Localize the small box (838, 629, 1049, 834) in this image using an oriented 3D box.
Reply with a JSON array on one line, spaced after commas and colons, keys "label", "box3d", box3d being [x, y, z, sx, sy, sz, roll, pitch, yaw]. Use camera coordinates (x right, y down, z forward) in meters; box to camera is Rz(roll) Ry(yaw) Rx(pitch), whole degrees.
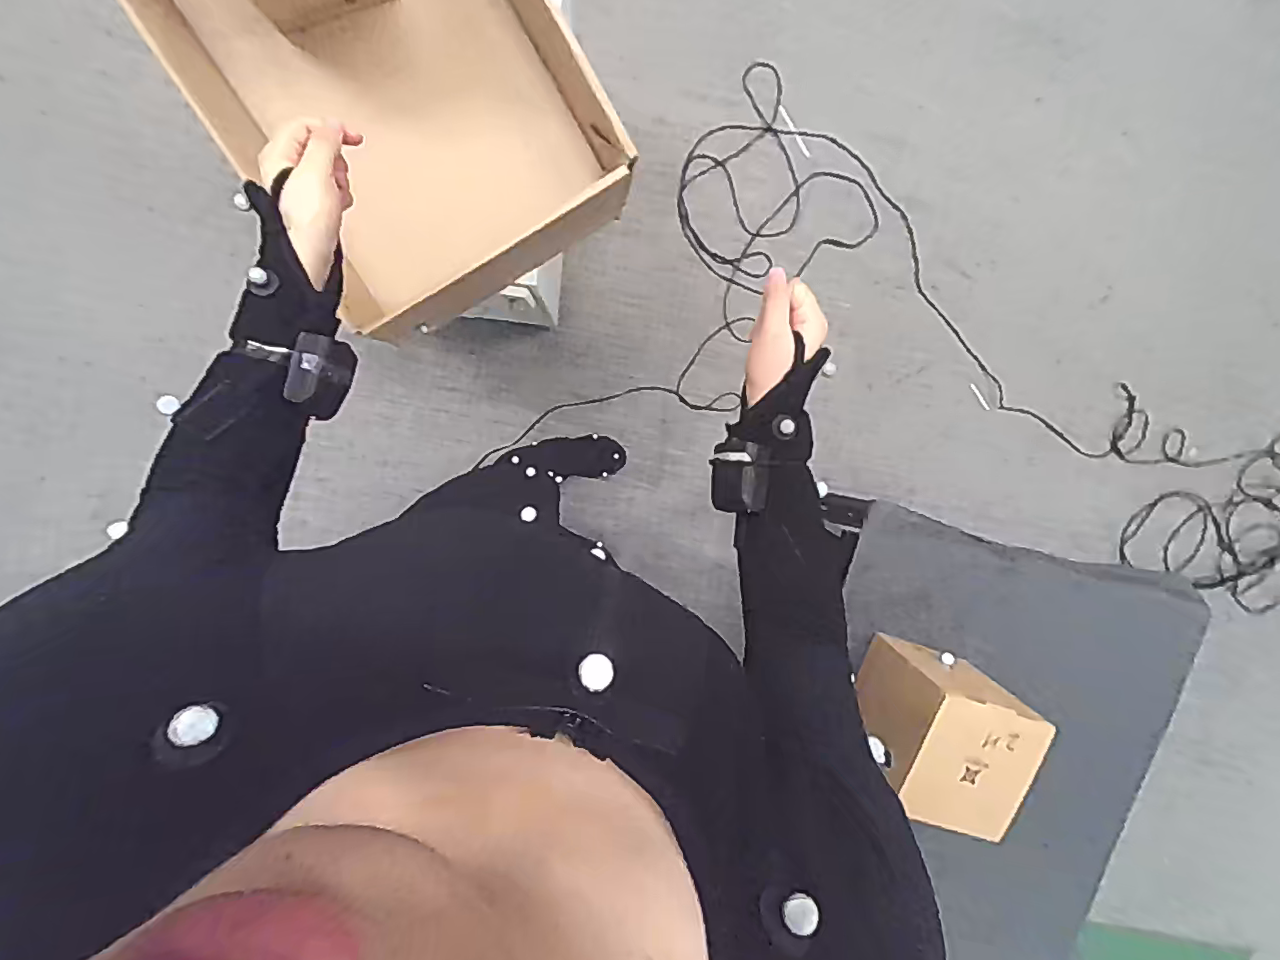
[{"label": "small box", "box3d": [0.405, 0.341, 0.759, 0.168, 0.176, 0.179, 20, 97, -8]}]
